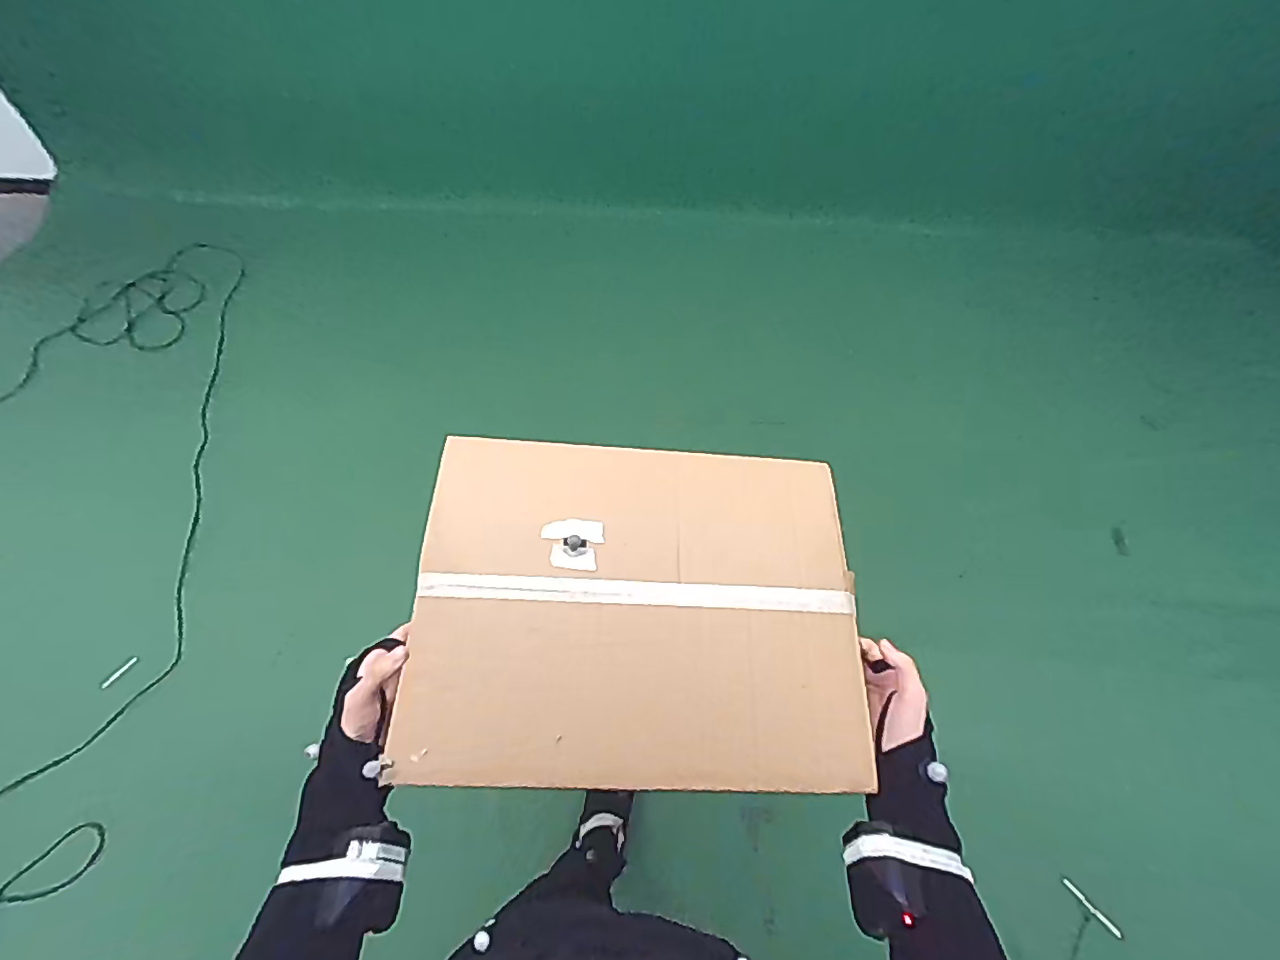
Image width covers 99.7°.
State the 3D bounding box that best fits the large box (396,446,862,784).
[{"bbox_3d":[-0.012,0.172,0.651,0.408,0.320,0.320,3,64,-4],"label":"large box"}]
